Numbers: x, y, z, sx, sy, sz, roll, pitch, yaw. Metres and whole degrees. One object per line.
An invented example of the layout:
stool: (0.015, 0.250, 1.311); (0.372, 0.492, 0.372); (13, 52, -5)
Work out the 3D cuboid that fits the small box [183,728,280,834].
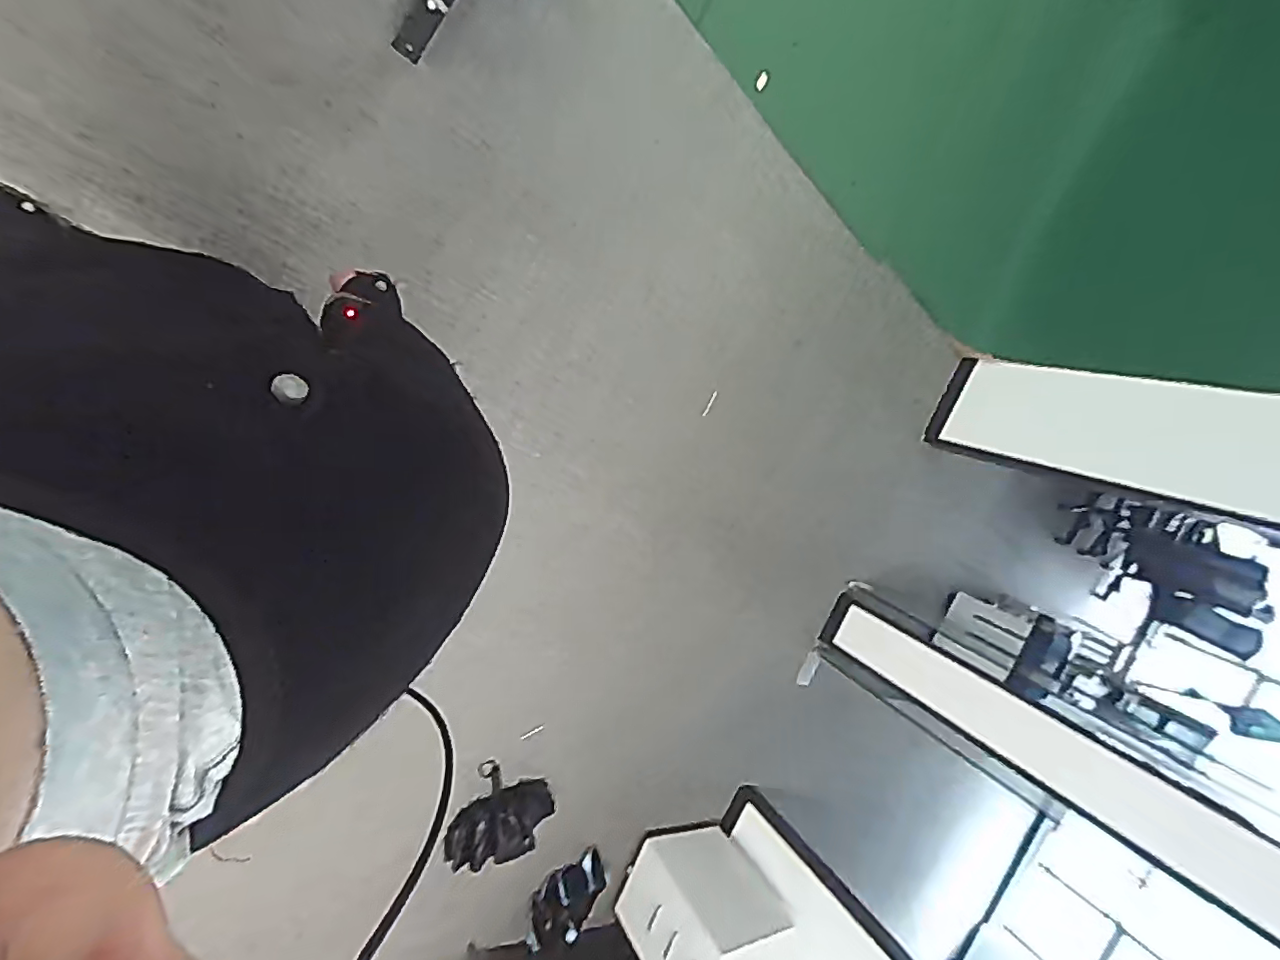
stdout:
small box: (-1.075, 0.788, 1.432); (0.168, 0.176, 0.179); (17, 96, -39)
